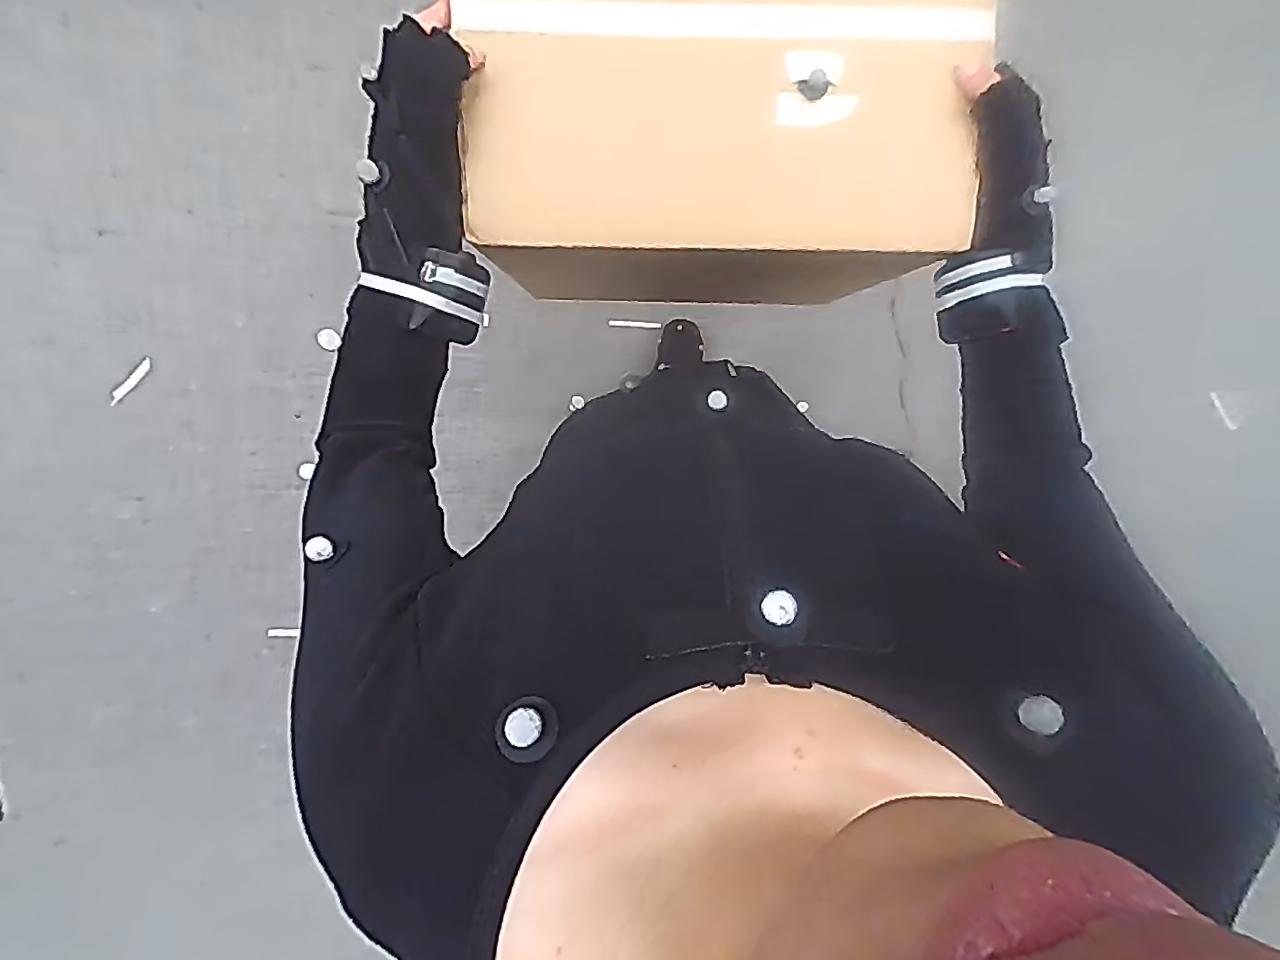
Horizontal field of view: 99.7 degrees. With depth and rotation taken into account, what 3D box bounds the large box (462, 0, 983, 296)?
[{"bbox_3d":[0.058,-0.376,0.557,0.408,0.320,0.320,0,101,-2],"label":"large box"}]
